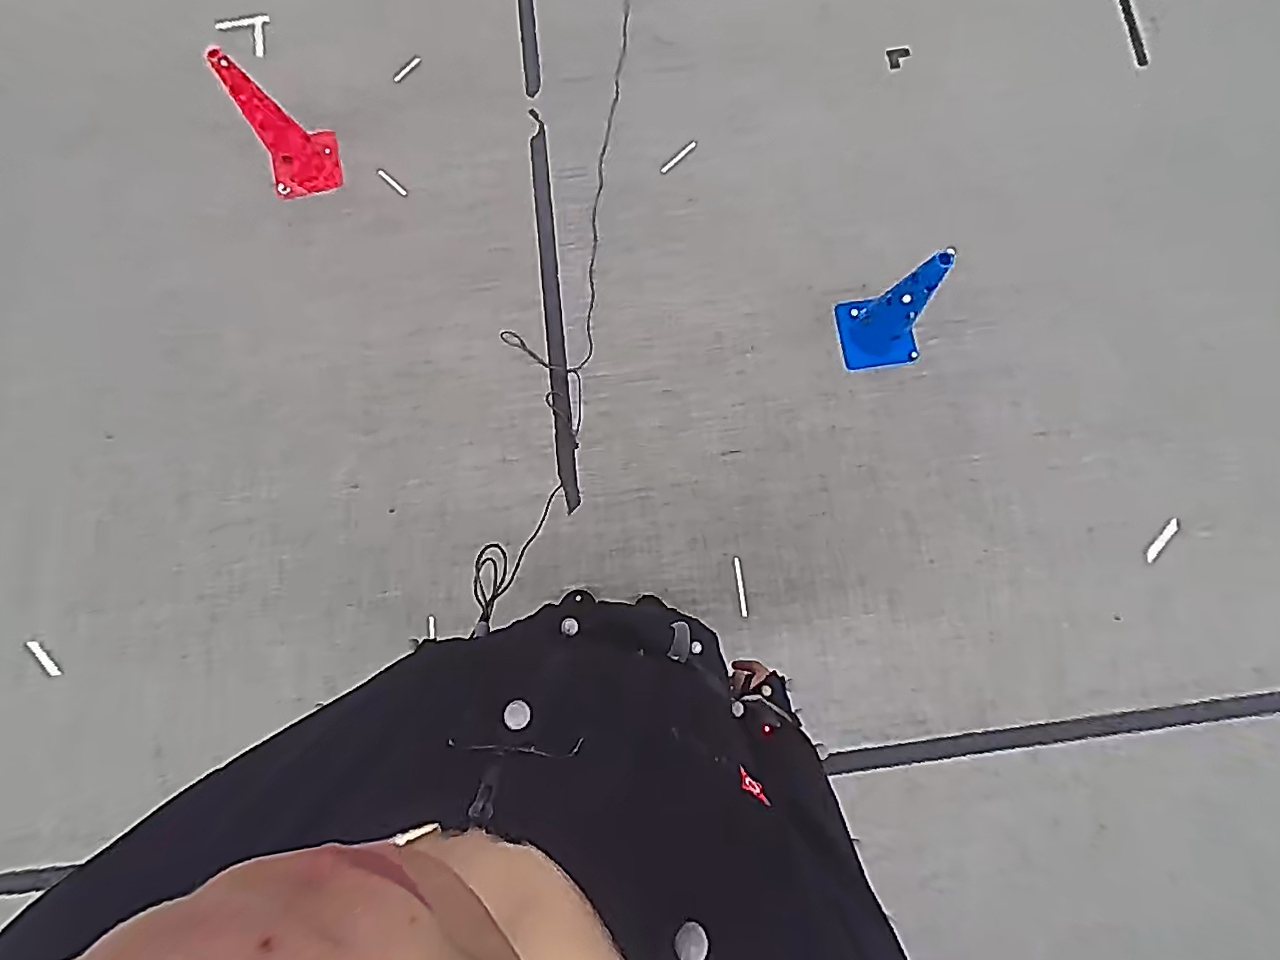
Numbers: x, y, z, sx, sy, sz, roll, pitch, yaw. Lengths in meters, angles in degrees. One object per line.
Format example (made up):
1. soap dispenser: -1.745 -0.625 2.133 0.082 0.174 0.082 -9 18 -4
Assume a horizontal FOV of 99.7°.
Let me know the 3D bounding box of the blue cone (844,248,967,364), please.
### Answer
1. blue cone: 0.657 -0.437 1.313 0.192 0.380 0.193 -6 80 -1

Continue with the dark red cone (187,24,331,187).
1. dark red cone: -1.013 -0.985 1.419 0.201 0.394 0.202 -14 80 -2
